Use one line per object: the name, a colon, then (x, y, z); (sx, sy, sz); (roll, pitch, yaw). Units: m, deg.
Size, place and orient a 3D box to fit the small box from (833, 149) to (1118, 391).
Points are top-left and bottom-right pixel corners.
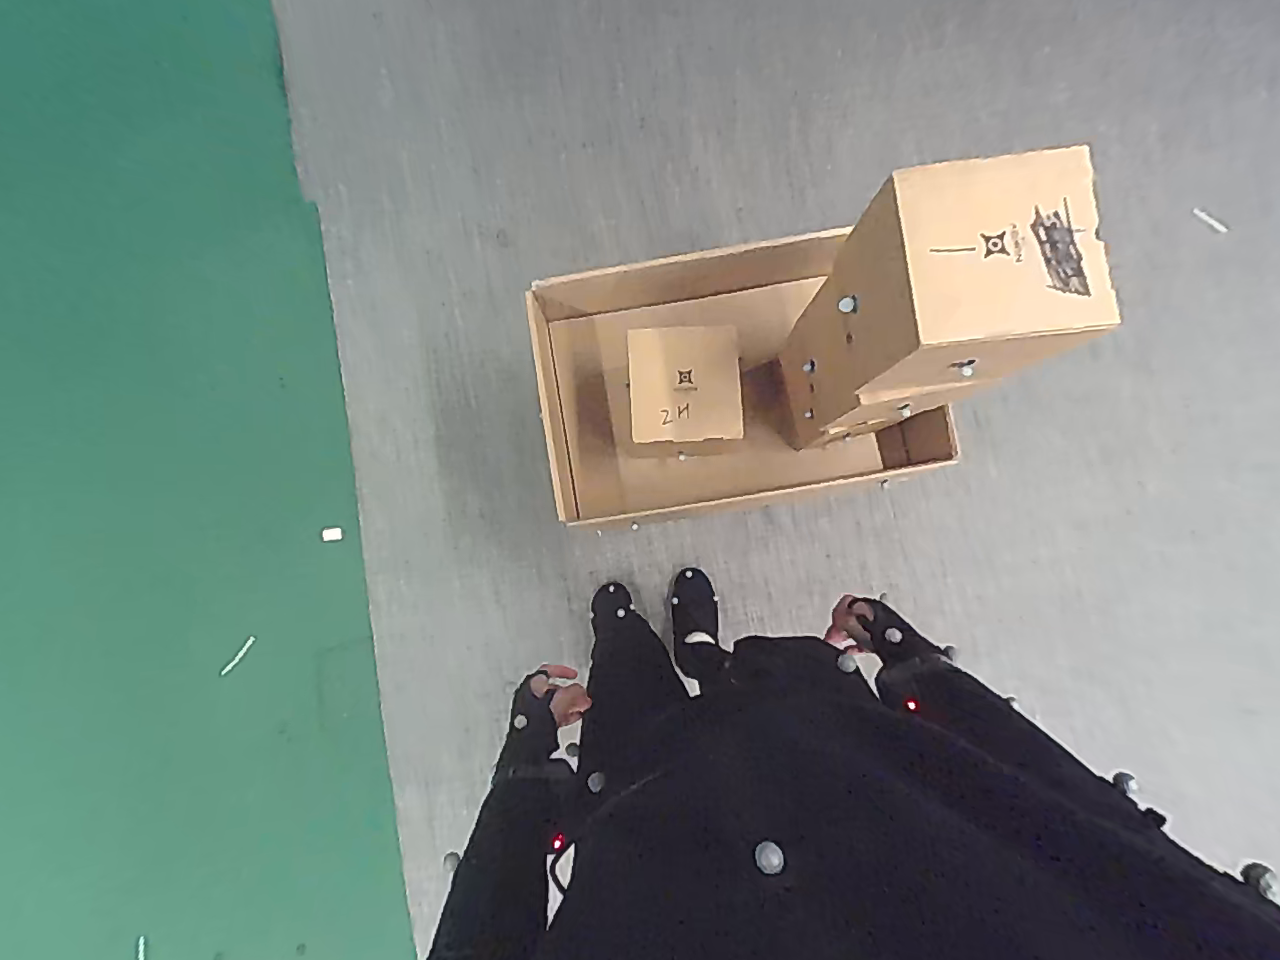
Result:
small box: (0.318, -0.196, 0.549); (0.179, 0.176, 0.168); (-6, 84, 2)
